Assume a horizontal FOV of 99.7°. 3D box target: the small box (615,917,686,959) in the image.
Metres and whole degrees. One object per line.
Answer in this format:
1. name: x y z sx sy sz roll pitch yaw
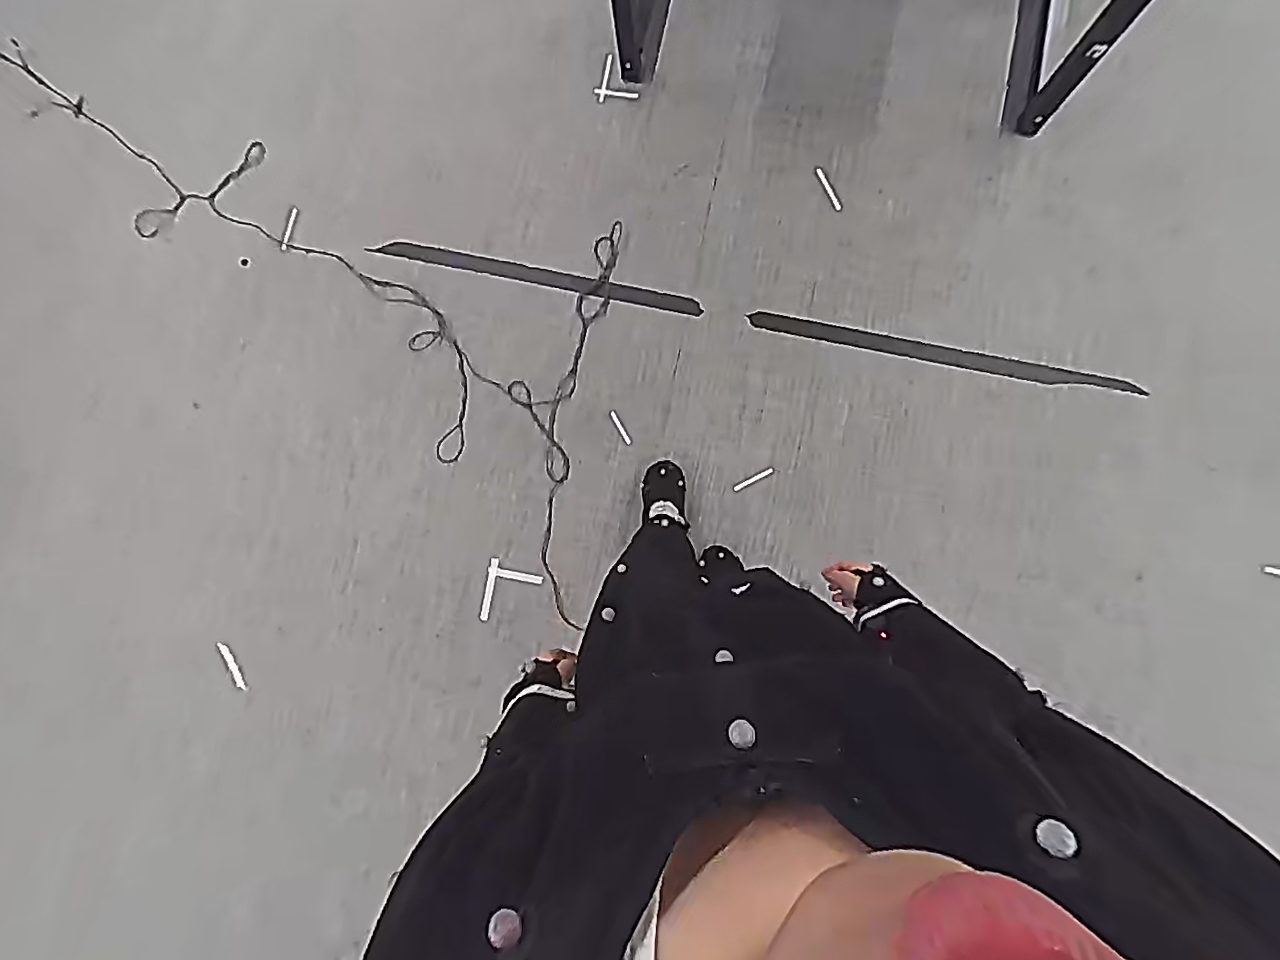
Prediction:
1. small box: 0.015 1.230 1.322 0.168 0.176 0.179 14 85 6
